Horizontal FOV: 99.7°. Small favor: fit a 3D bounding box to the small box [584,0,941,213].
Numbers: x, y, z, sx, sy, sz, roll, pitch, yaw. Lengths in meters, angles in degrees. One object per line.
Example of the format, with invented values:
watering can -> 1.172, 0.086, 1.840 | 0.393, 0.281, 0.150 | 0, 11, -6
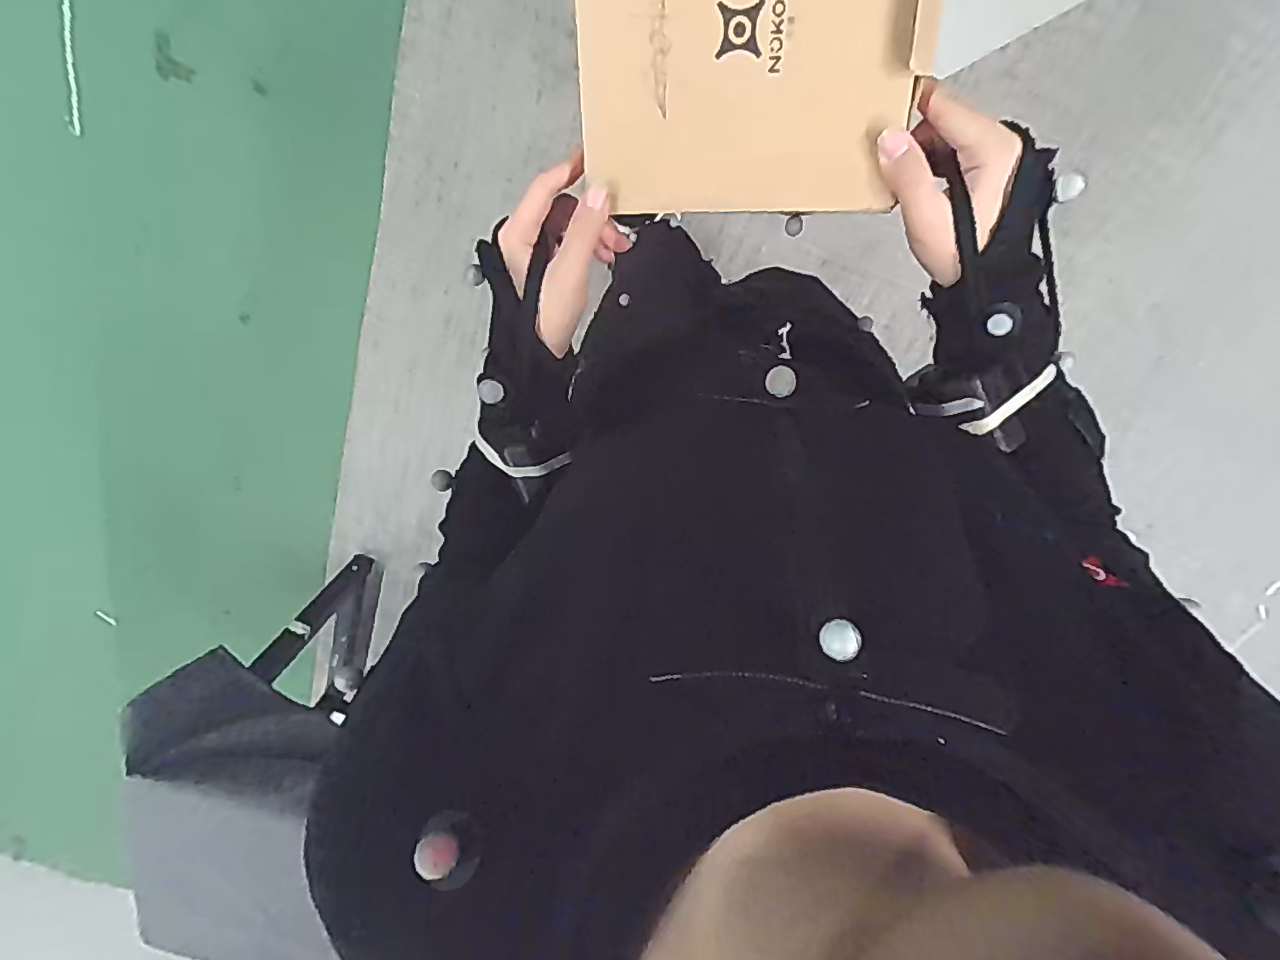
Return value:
small box -> 0.066, -0.262, 0.339 | 0.179, 0.176, 0.168 | 2, 116, 7
